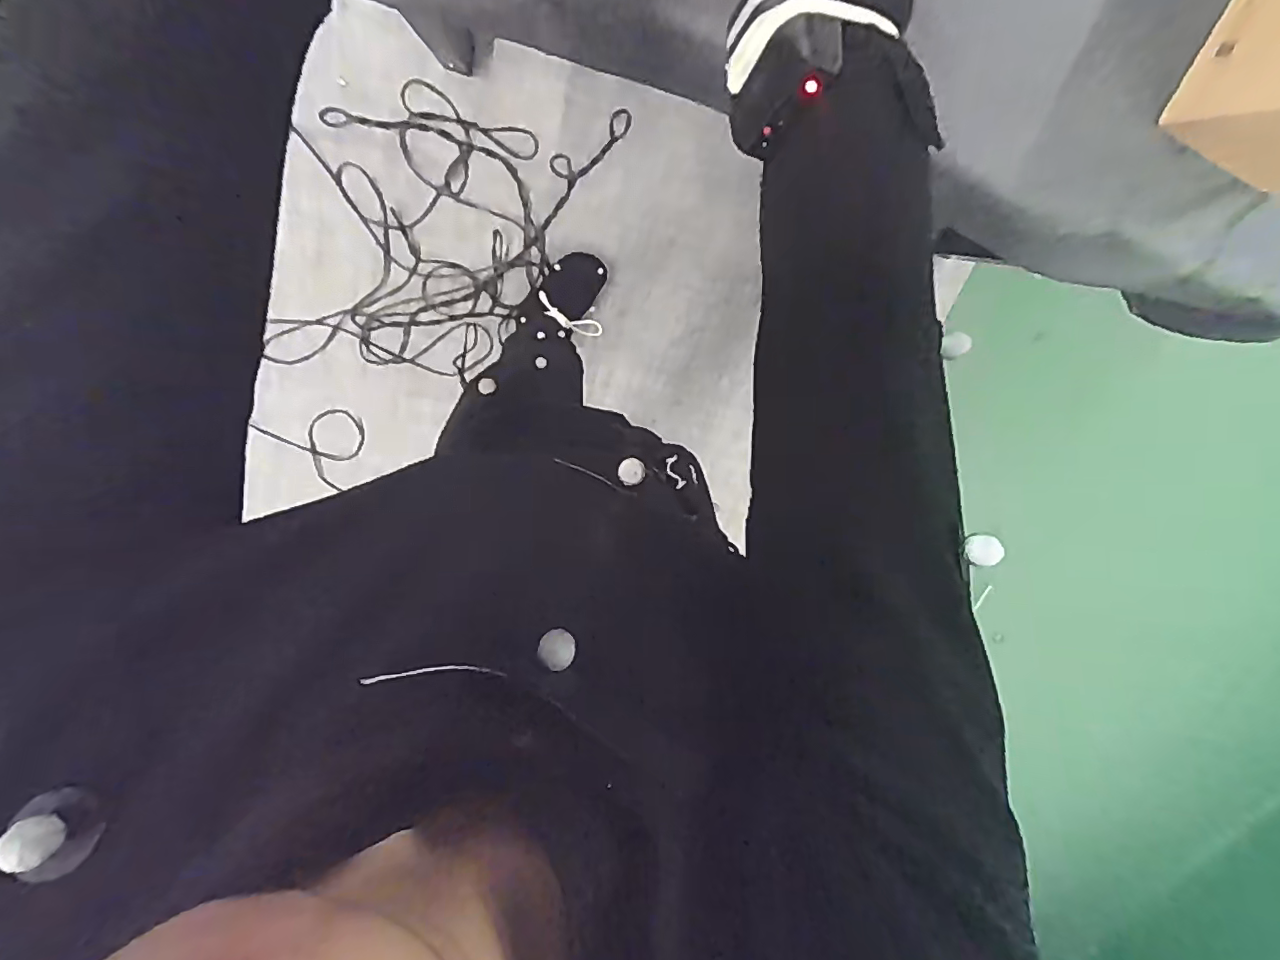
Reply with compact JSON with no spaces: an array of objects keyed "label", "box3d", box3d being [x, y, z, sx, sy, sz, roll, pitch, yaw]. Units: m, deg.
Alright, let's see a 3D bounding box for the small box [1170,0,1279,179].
[{"label":"small box","box3d":[0.625,-0.369,0.453,0.179,0.176,0.168,14,113,-16]}]
